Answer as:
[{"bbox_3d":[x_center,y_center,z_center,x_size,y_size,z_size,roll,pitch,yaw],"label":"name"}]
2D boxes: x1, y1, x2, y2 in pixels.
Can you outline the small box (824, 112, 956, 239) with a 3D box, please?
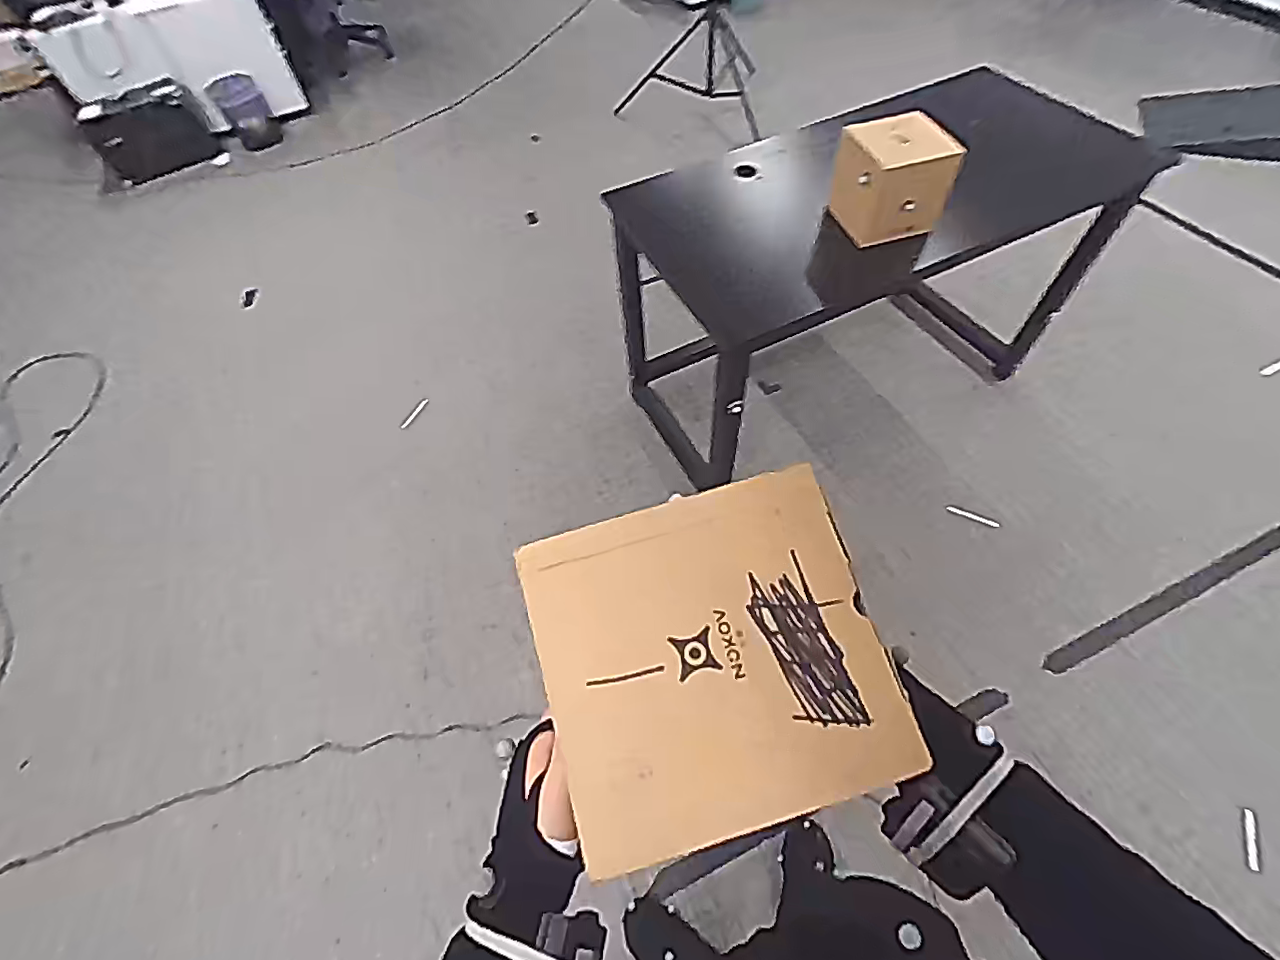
[{"bbox_3d":[0.512,-0.630,1.136,0.168,0.176,0.179,-15,57,-5],"label":"small box"}]
